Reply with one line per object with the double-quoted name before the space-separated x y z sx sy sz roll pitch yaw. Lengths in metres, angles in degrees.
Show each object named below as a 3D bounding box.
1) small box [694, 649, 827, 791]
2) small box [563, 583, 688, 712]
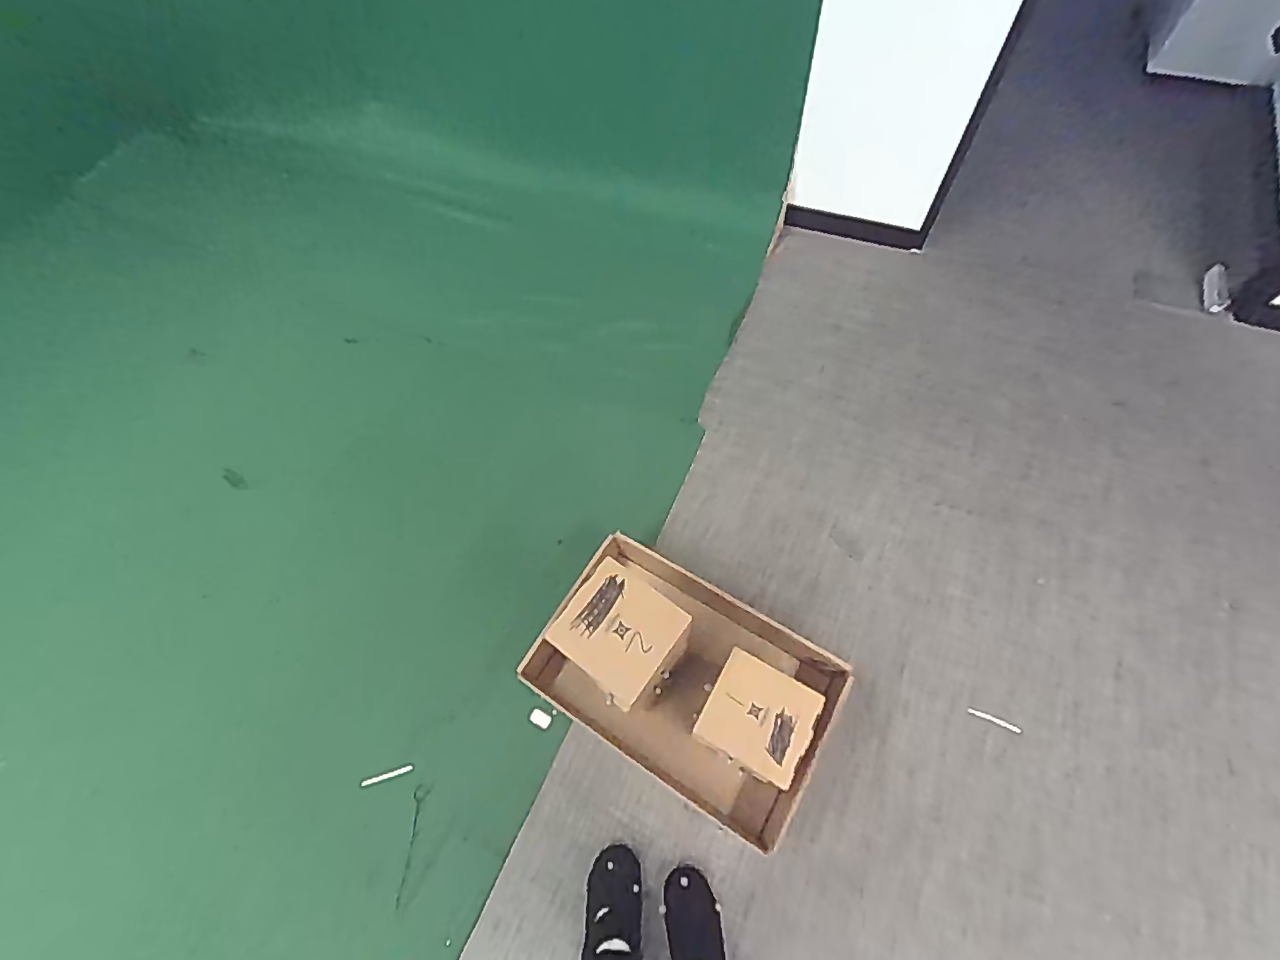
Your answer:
"small box" 0.214 0.436 0.992 0.179 0.176 0.168 26 69 18
"small box" -0.025 0.338 1.067 0.179 0.176 0.168 39 73 18
